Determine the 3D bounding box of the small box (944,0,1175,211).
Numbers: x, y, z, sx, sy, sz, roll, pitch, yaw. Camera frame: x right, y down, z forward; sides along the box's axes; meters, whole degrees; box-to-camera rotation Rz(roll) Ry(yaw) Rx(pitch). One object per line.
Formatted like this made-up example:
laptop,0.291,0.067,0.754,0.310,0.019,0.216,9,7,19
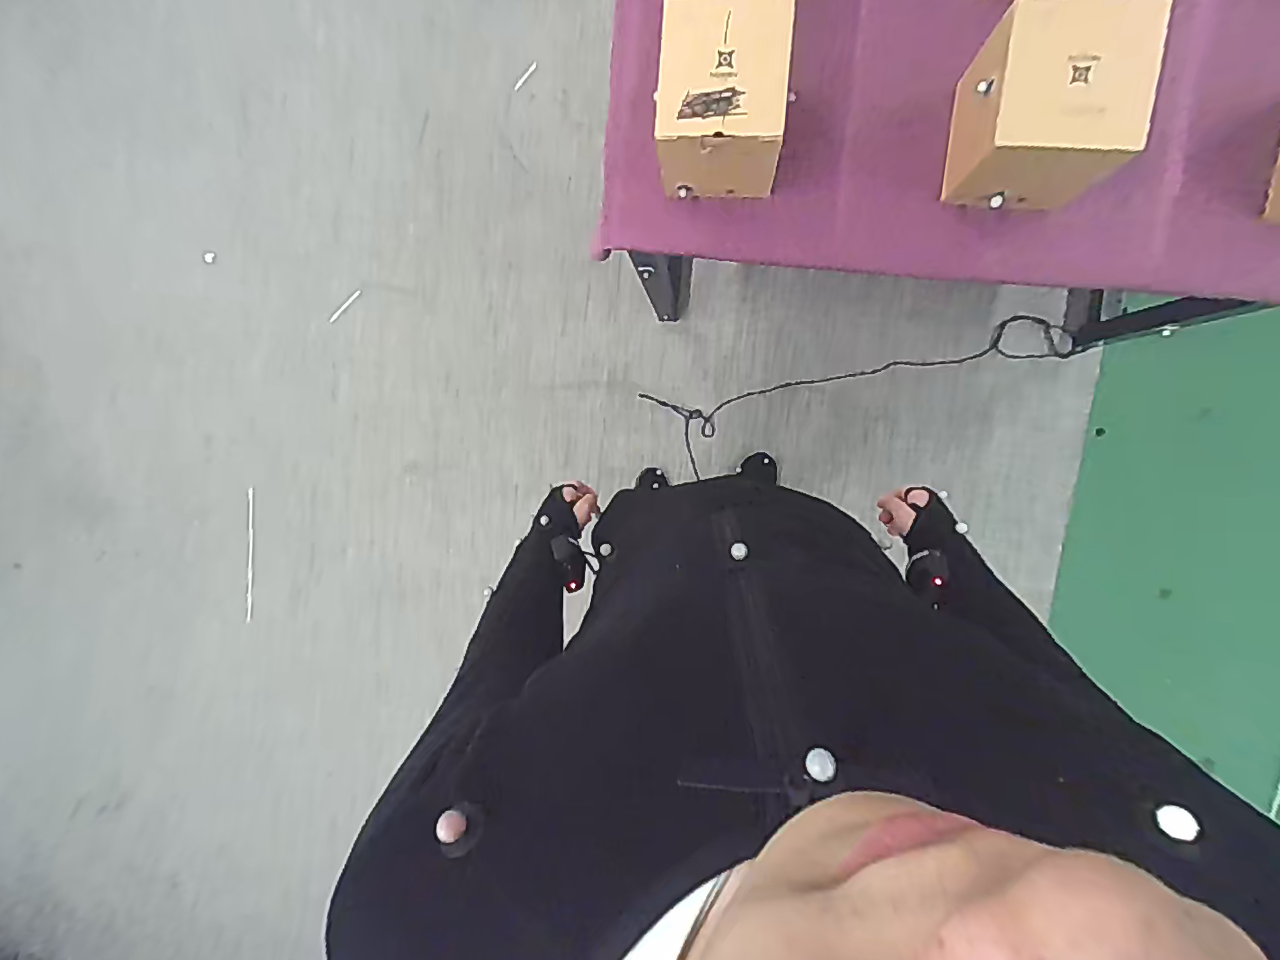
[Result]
small box,0.526,-0.482,0.707,0.168,0.176,0.179,8,95,7

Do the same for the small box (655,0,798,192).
small box,0.116,-0.525,0.752,0.168,0.176,0.179,5,94,6

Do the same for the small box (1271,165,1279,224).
small box,0.949,-0.426,0.656,0.168,0.176,0.179,10,94,8
